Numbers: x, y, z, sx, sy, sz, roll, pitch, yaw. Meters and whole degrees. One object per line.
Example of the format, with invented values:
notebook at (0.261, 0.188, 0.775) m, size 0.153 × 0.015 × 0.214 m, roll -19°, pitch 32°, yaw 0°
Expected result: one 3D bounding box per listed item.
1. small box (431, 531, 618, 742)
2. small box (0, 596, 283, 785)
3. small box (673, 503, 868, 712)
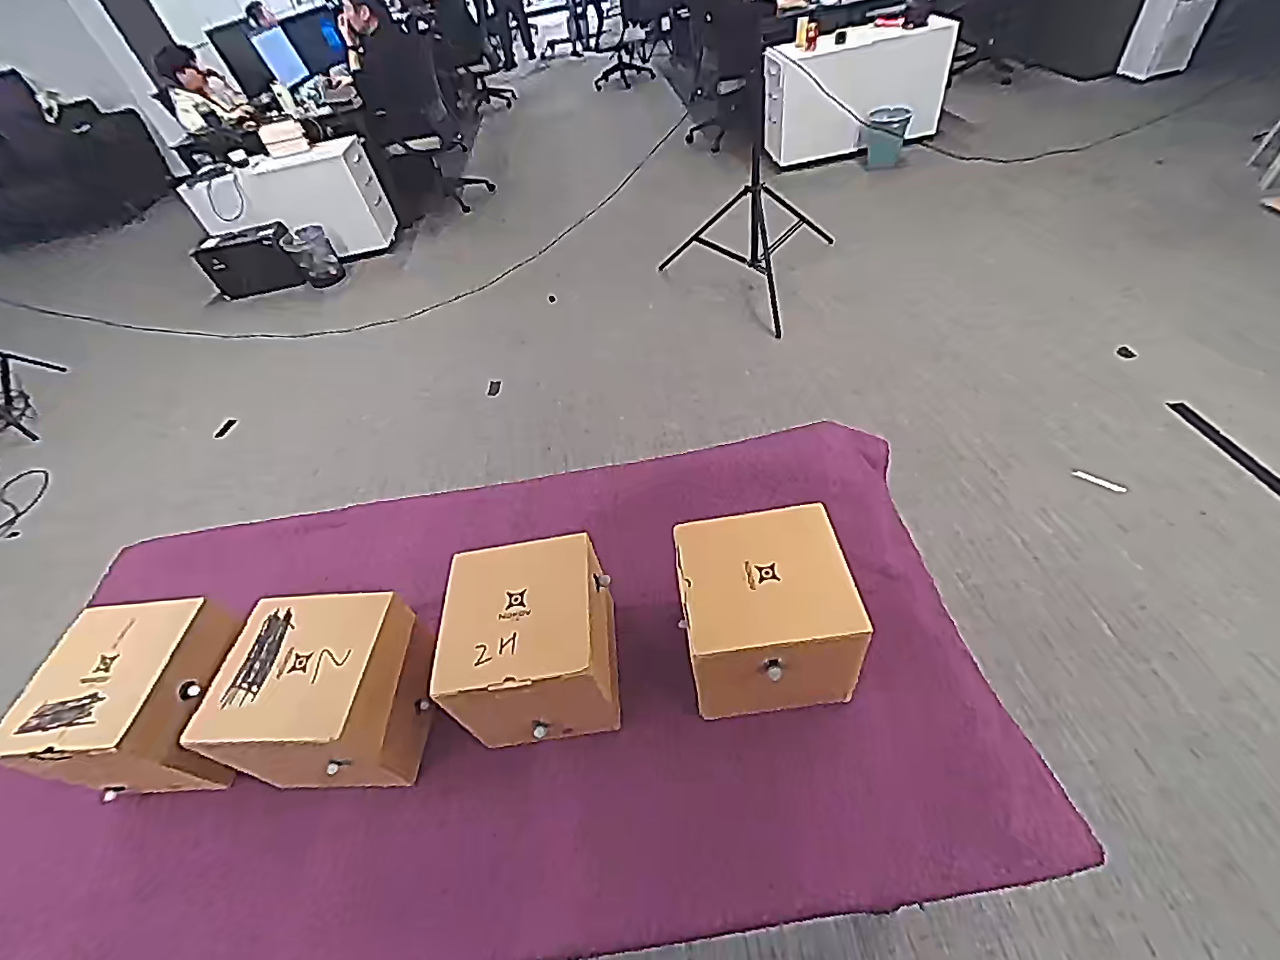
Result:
small box at (-0.124, 0.189, 0.651) m, size 0.168 × 0.176 × 0.179 m, roll -10°, pitch 47°, yaw 3°
small box at (-0.595, 0.268, 0.674) m, size 0.168 × 0.176 × 0.179 m, roll -6°, pitch 47°, yaw 6°
small box at (0.141, 0.152, 0.631) m, size 0.179 × 0.176 × 0.168 m, roll -10°, pitch 46°, yaw 4°
